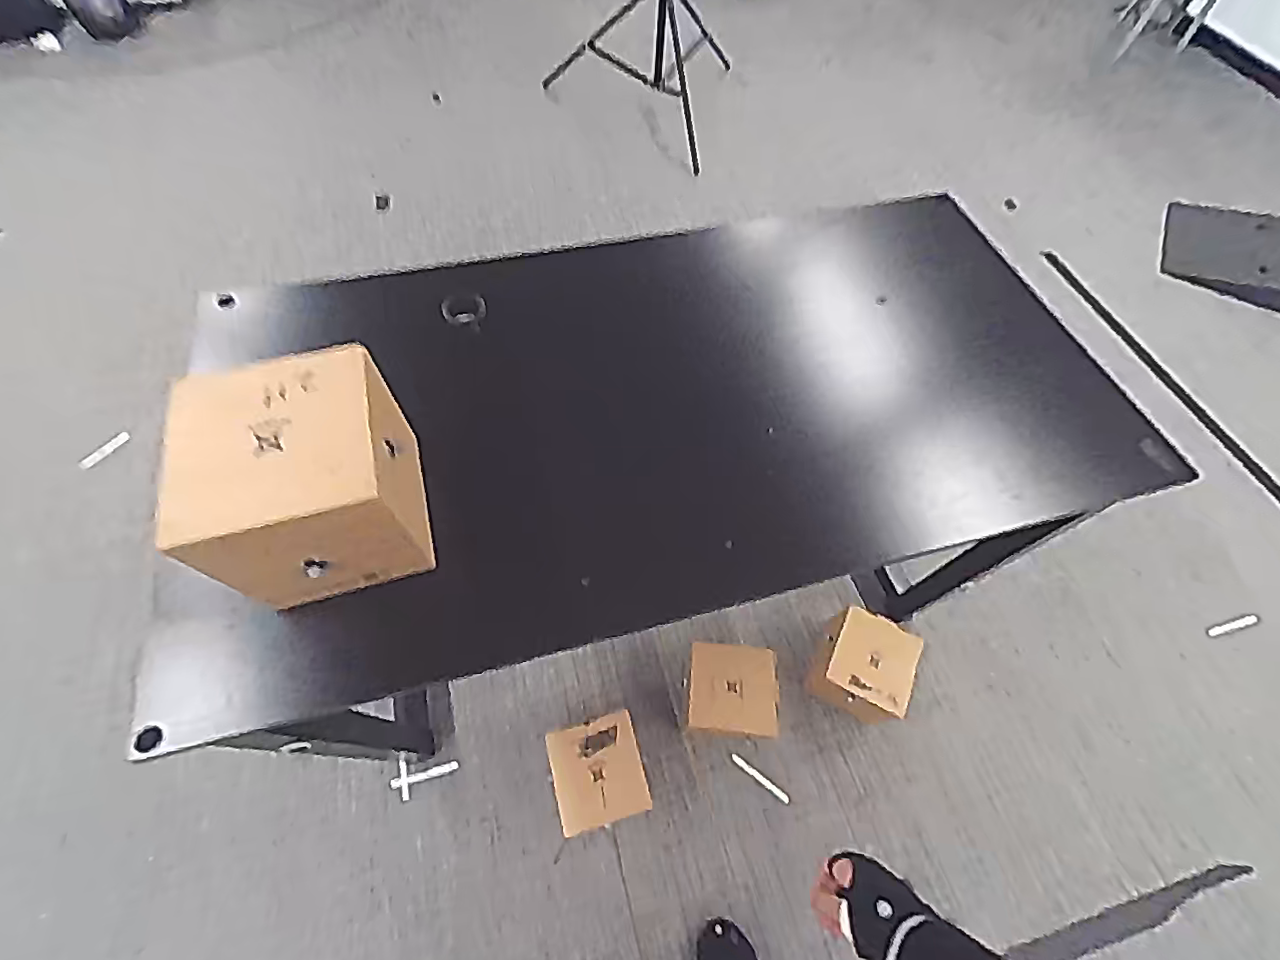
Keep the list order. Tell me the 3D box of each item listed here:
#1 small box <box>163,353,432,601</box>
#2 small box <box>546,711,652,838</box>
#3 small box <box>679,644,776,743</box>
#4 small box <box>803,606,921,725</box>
[{"bbox_3d":[-0.321,0.007,0.540,0.168,0.176,0.179,-14,62,-11],"label":"small box"},{"bbox_3d":[-0.083,0.577,1.070,0.168,0.176,0.179,-14,64,-10],"label":"small box"},{"bbox_3d":[0.182,0.459,1.150,0.179,0.176,0.168,5,60,2],"label":"small box"},{"bbox_3d":[0.479,0.411,1.187,0.168,0.176,0.179,25,63,12],"label":"small box"}]
